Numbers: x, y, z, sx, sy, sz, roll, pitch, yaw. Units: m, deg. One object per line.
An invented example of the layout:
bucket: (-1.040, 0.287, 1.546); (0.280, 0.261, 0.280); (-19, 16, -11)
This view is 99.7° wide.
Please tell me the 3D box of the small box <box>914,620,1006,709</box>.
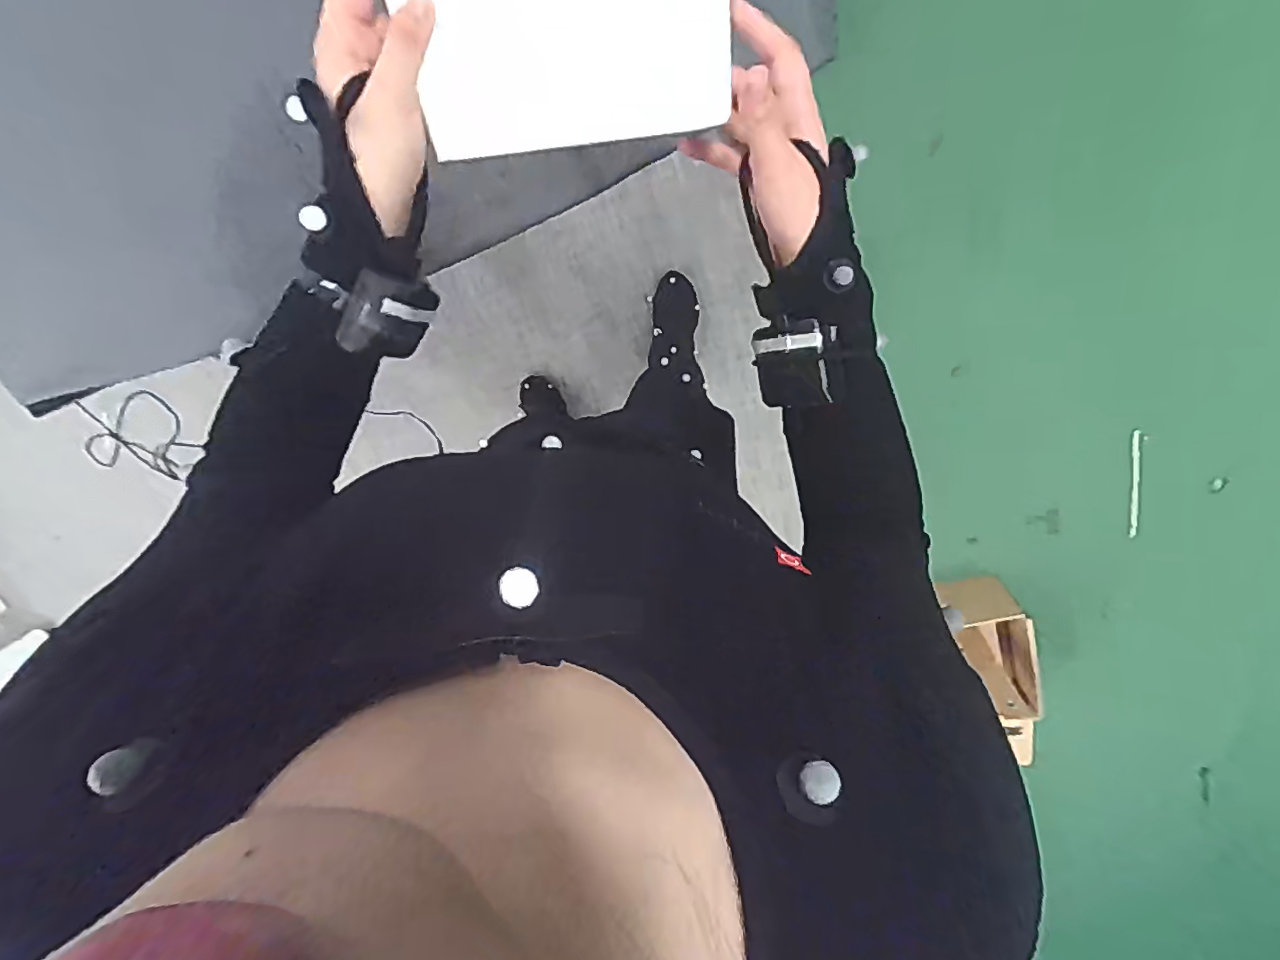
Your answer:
small box: (0.908, 0.522, 1.542); (0.179, 0.176, 0.168); (-15, 115, 17)
